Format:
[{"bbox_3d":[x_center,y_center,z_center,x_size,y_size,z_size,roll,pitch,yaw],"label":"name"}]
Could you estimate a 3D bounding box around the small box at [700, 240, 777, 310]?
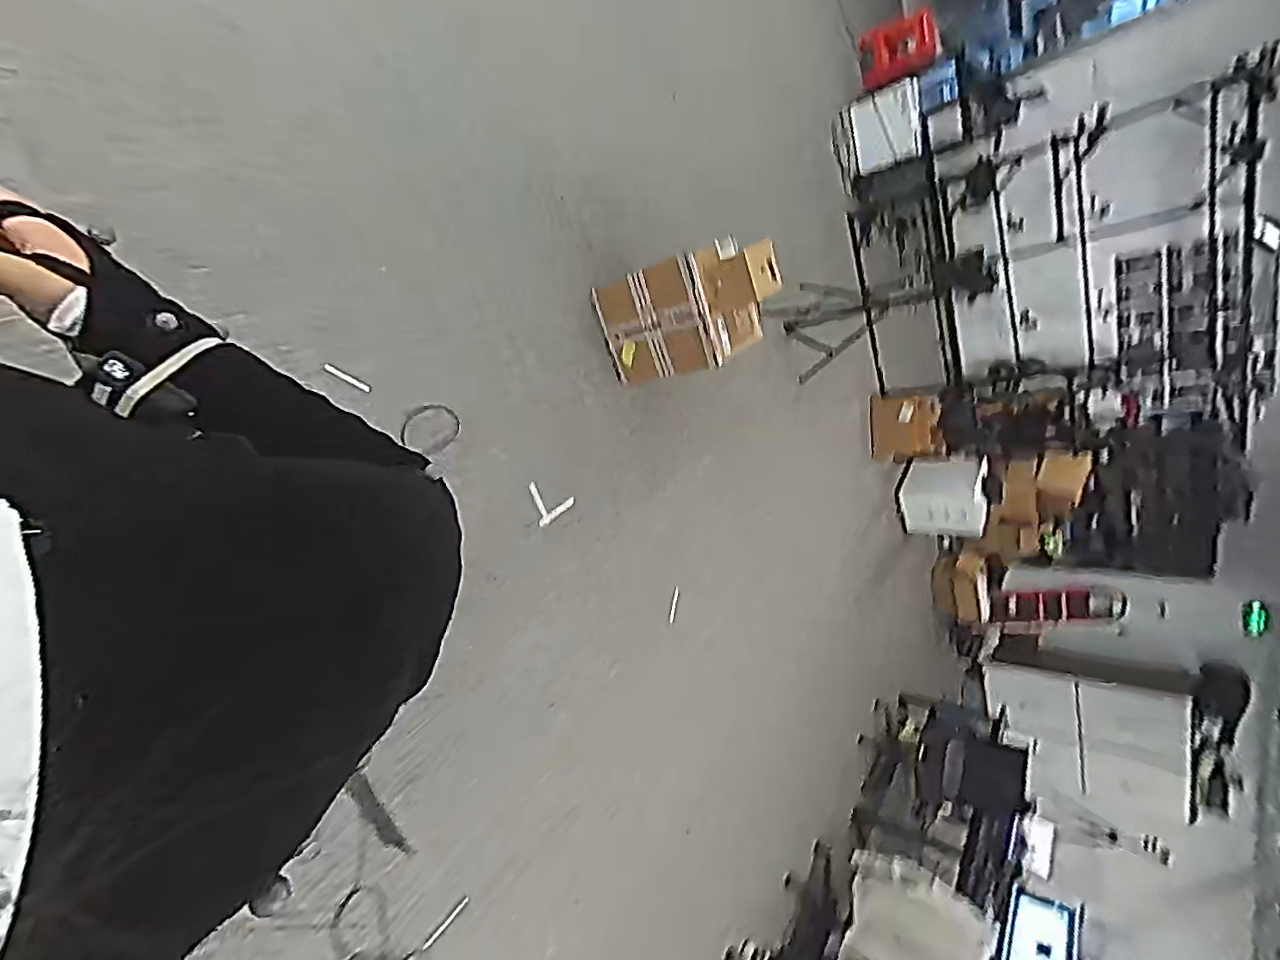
[{"bbox_3d":[0.332,-0.691,1.827,0.179,0.176,0.168,-37,114,-38],"label":"small box"}]
